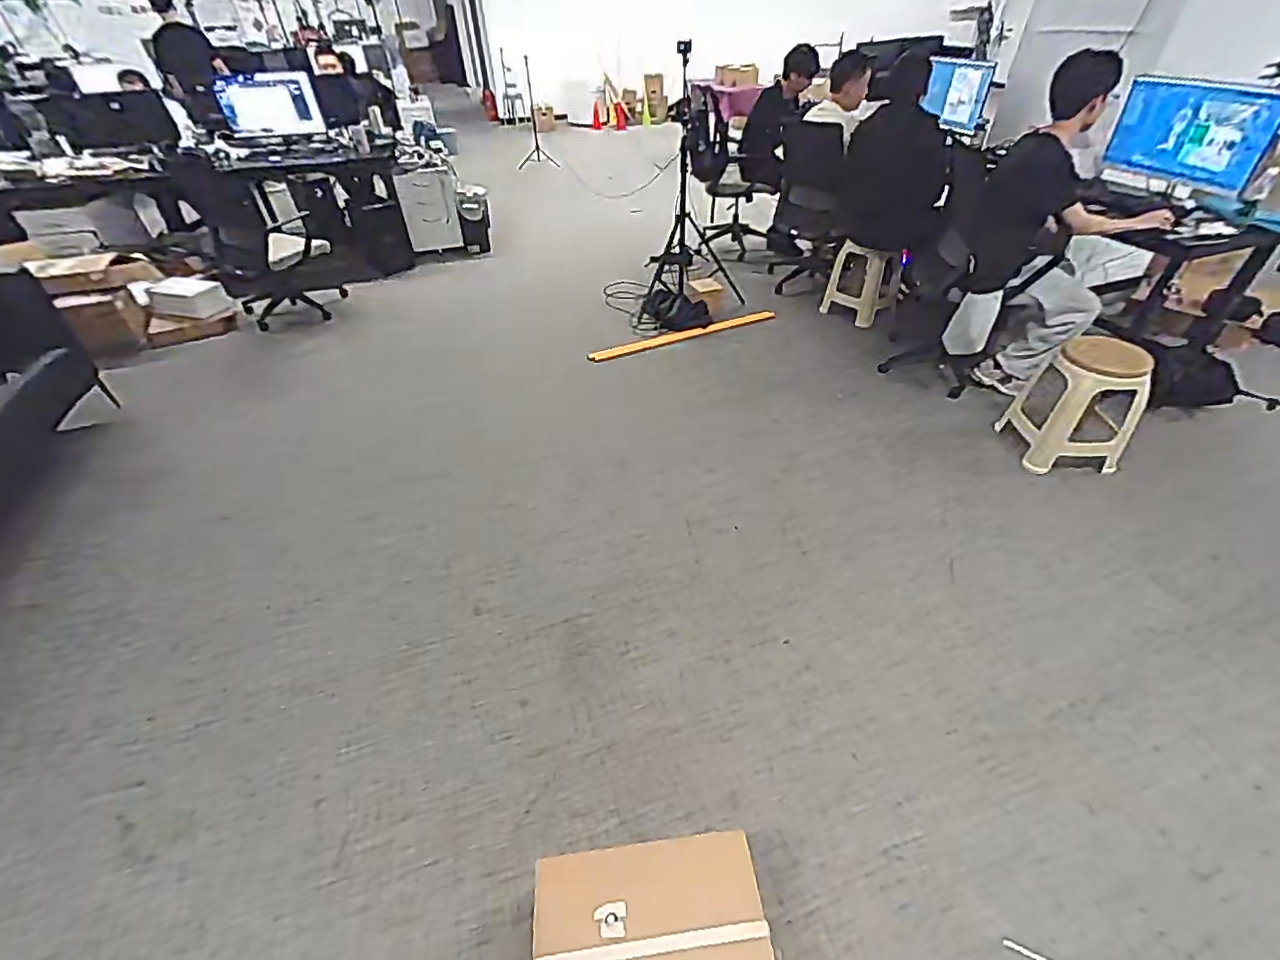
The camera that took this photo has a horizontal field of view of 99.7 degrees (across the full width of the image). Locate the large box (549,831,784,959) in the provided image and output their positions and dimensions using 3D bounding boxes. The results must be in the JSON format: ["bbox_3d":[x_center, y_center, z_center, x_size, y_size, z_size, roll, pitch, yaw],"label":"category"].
[{"bbox_3d":[0.053,0.921,1.032,0.408,0.320,0.320,-7,41,-3],"label":"large box"}]
